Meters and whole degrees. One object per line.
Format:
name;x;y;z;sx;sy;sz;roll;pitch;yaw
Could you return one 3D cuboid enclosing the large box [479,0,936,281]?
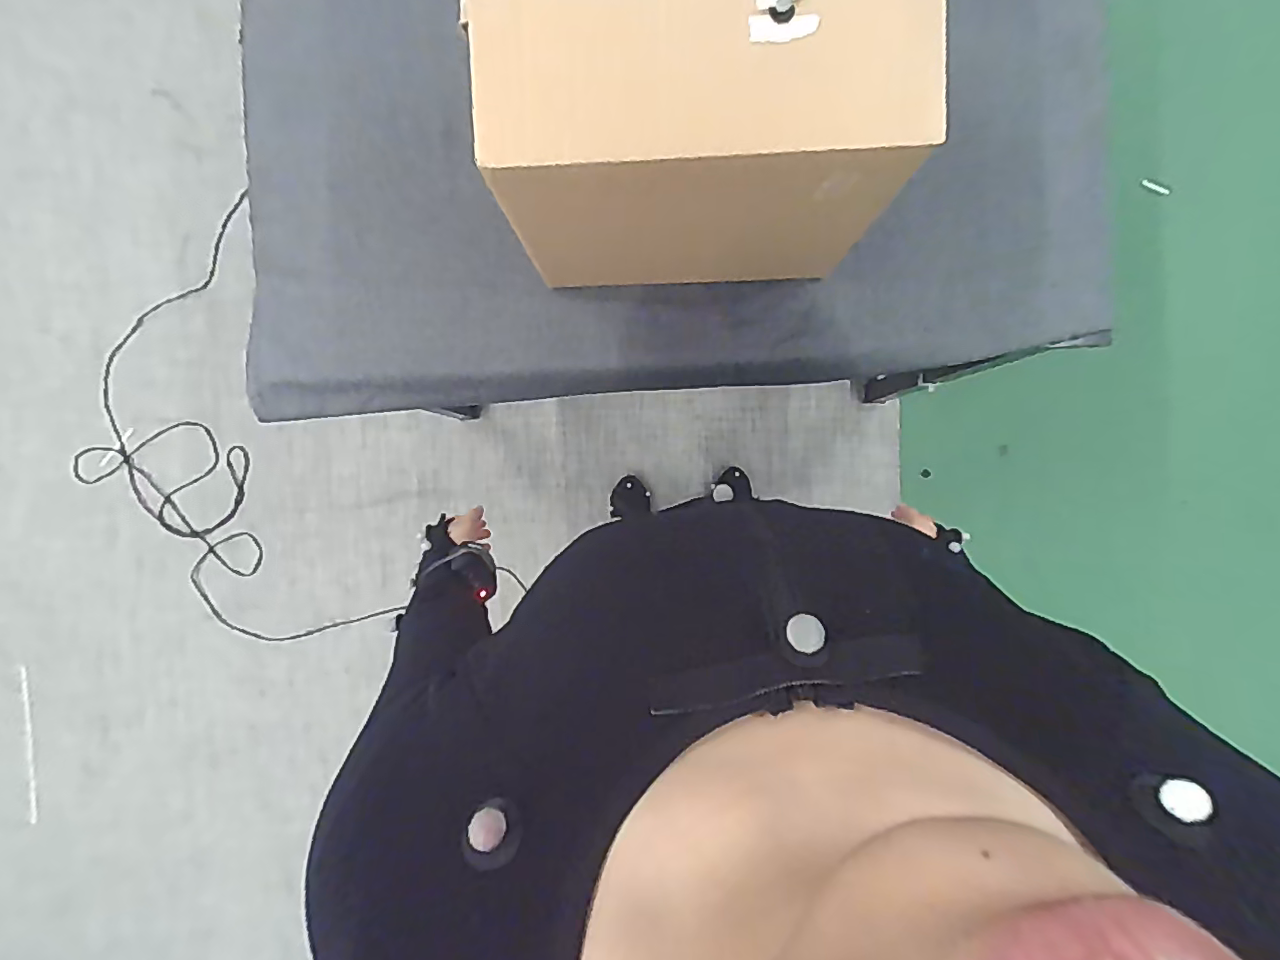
large box;0.056;-0.445;0.624;0.408;0.320;0.320;-2;91;2
